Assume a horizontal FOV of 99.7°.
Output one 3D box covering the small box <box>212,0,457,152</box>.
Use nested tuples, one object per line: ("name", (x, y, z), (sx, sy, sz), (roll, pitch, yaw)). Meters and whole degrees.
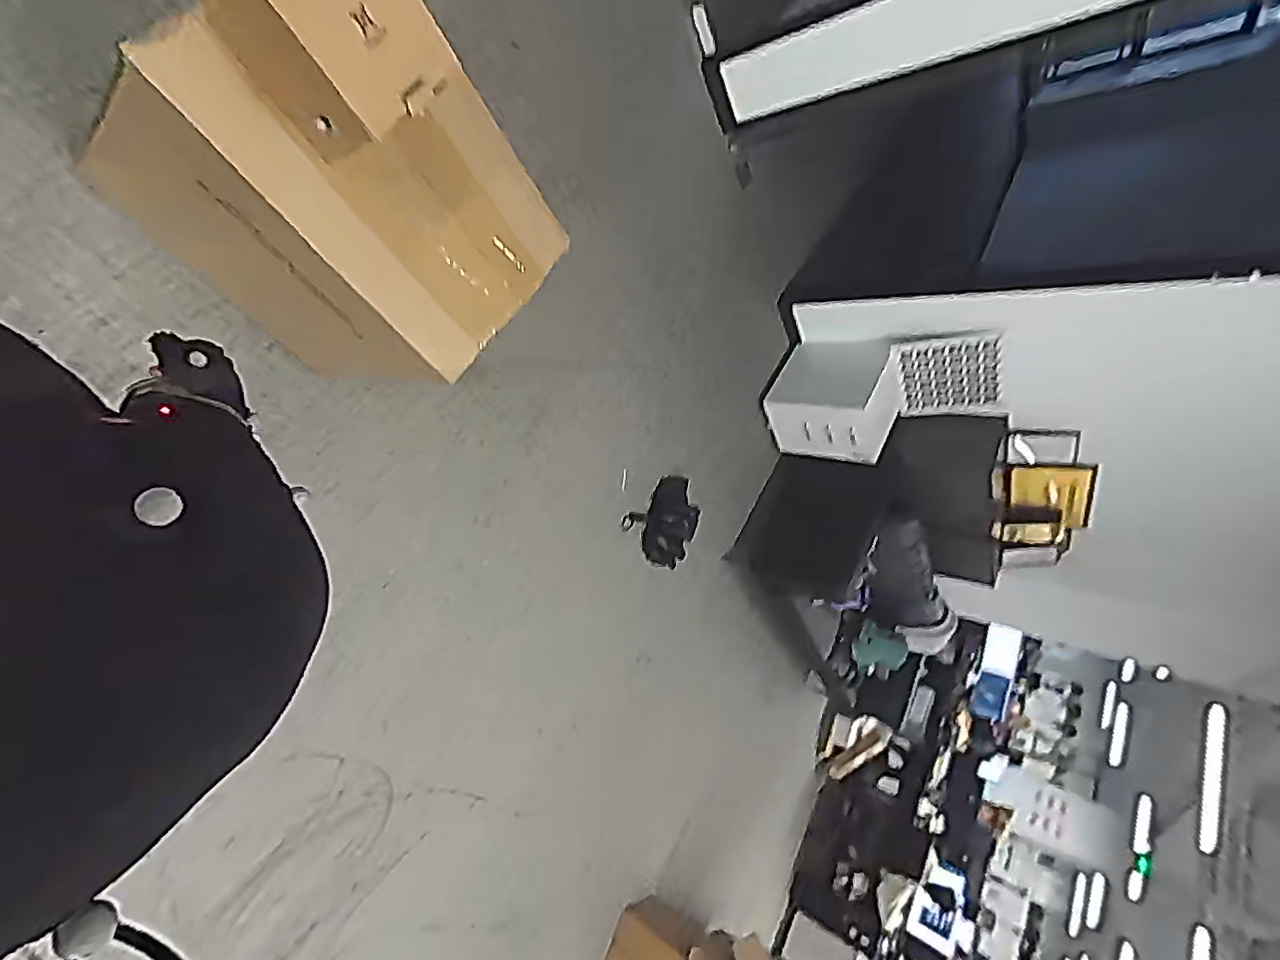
("small box", (-0.372, -0.538, 0.666), (0.168, 0.176, 0.179), (-58, 135, -19))
